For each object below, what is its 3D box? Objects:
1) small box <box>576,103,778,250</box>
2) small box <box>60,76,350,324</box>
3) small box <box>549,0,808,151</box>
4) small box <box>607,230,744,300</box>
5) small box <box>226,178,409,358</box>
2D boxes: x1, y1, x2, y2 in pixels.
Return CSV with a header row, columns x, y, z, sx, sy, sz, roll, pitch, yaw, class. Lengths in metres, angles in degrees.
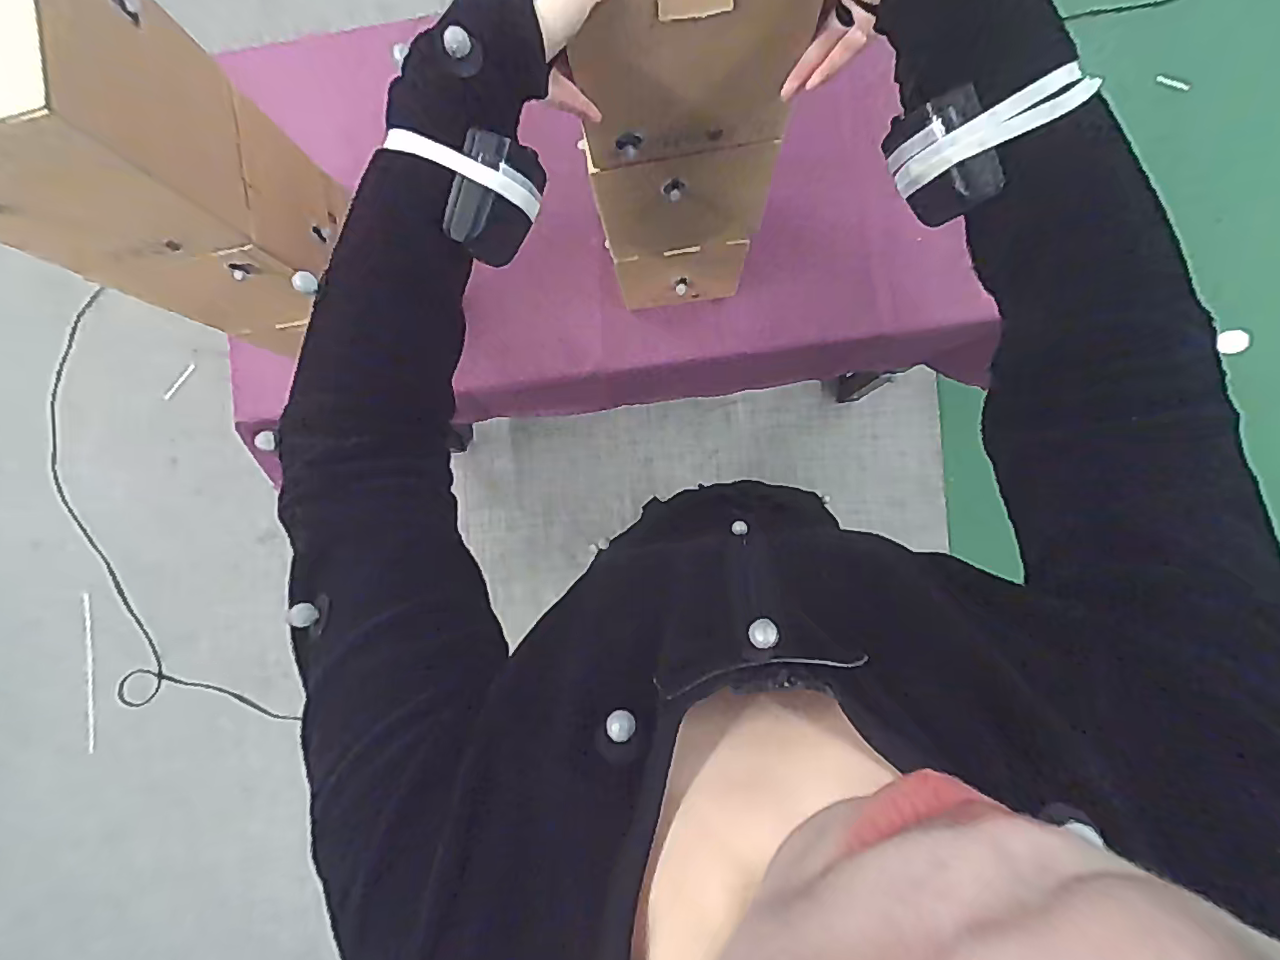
x,y,z,sx,sy,sz,roll,pitch,yaw,class
0.033,-0.361,0.560,0.179,0.176,0.168,-7,87,3,small box
-0.456,-0.286,0.592,0.179,0.176,0.168,-10,87,2,small box
0.023,-0.369,0.389,0.168,0.176,0.179,-7,88,2,small box
0.041,-0.355,0.725,0.168,0.176,0.179,-7,88,3,small box
-0.442,-0.278,0.753,0.168,0.176,0.179,-8,86,2,small box
